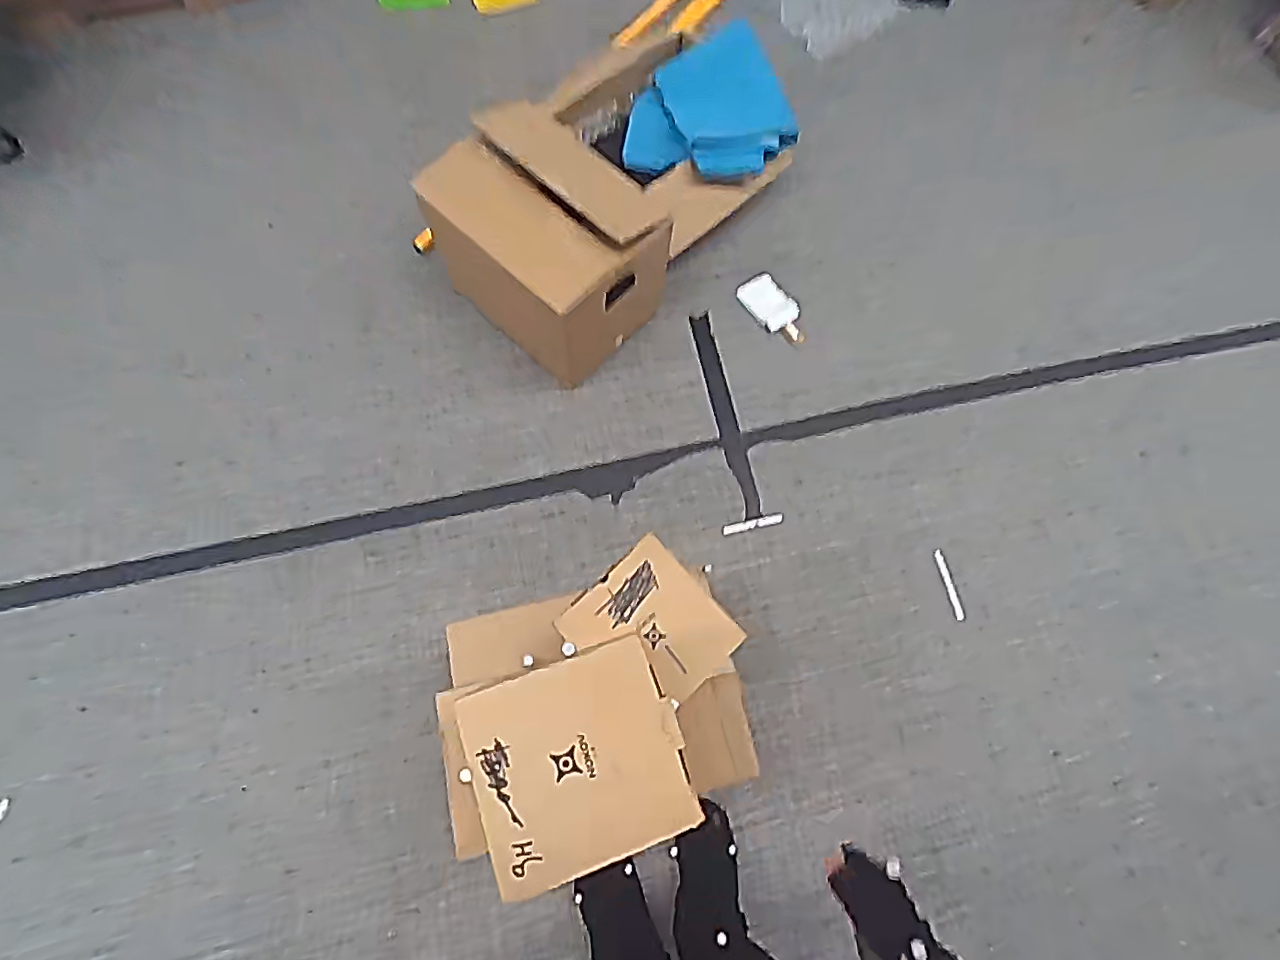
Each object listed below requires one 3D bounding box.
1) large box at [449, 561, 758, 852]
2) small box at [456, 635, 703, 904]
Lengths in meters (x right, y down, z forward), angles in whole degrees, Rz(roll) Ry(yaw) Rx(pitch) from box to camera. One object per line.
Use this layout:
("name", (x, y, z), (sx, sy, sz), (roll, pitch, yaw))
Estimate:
("large box", (-0.067, 0.358, 0.930), (0.408, 0.320, 0.320), (-13, 75, -8))
("small box", (-0.058, 0.258, 0.535), (0.179, 0.176, 0.168), (-18, 76, -8))
